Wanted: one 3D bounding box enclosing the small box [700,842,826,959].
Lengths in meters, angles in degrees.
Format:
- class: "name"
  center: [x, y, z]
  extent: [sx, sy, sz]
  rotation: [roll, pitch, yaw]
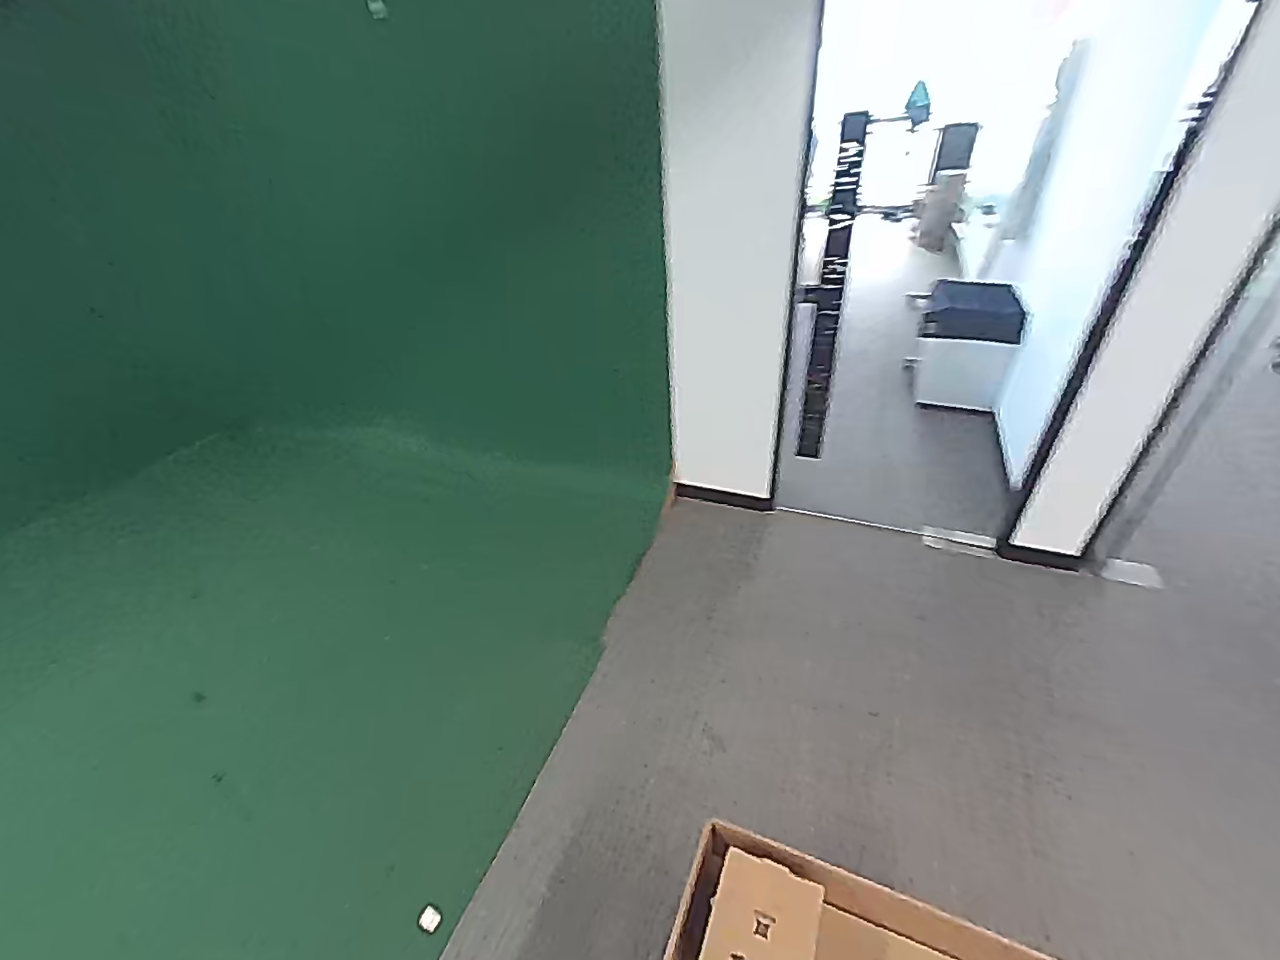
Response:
- class: "small box"
  center: [0.203, 0.767, 0.911]
  extent: [0.168, 0.176, 0.179]
  rotation: [13, 39, 22]
